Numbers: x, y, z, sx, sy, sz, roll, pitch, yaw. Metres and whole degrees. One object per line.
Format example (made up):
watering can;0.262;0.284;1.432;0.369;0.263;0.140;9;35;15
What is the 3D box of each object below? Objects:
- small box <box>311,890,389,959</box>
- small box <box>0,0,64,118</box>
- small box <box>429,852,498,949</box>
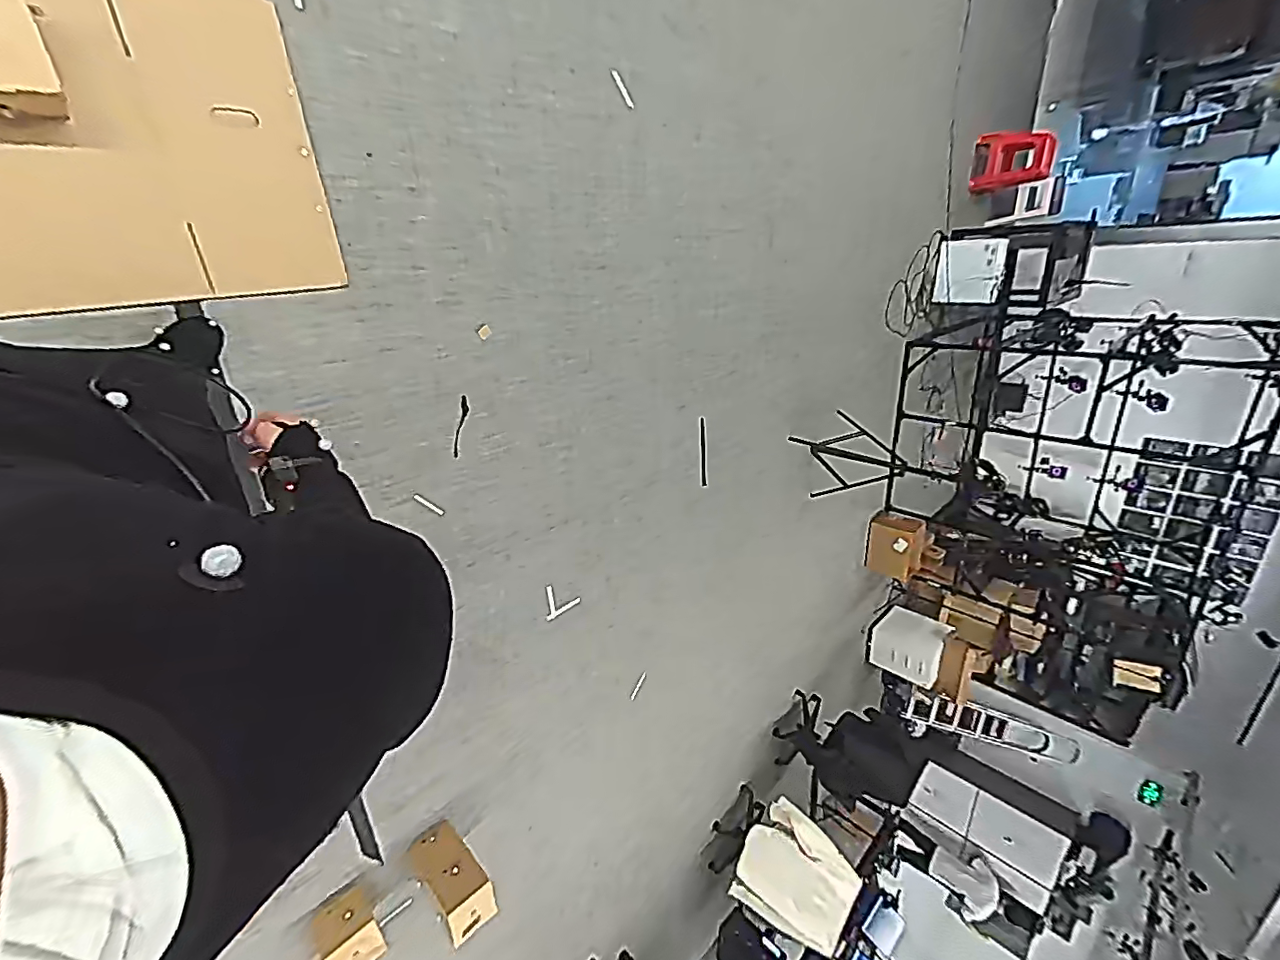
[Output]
small box;-0.980;1.542;1.823;0.168;0.176;0.179;-25;121;-38
small box;-1.104;-0.725;0.892;0.168;0.176;0.179;-24;120;-37
small box;-0.628;1.485;1.923;0.168;0.176;0.179;-21;117;-41
